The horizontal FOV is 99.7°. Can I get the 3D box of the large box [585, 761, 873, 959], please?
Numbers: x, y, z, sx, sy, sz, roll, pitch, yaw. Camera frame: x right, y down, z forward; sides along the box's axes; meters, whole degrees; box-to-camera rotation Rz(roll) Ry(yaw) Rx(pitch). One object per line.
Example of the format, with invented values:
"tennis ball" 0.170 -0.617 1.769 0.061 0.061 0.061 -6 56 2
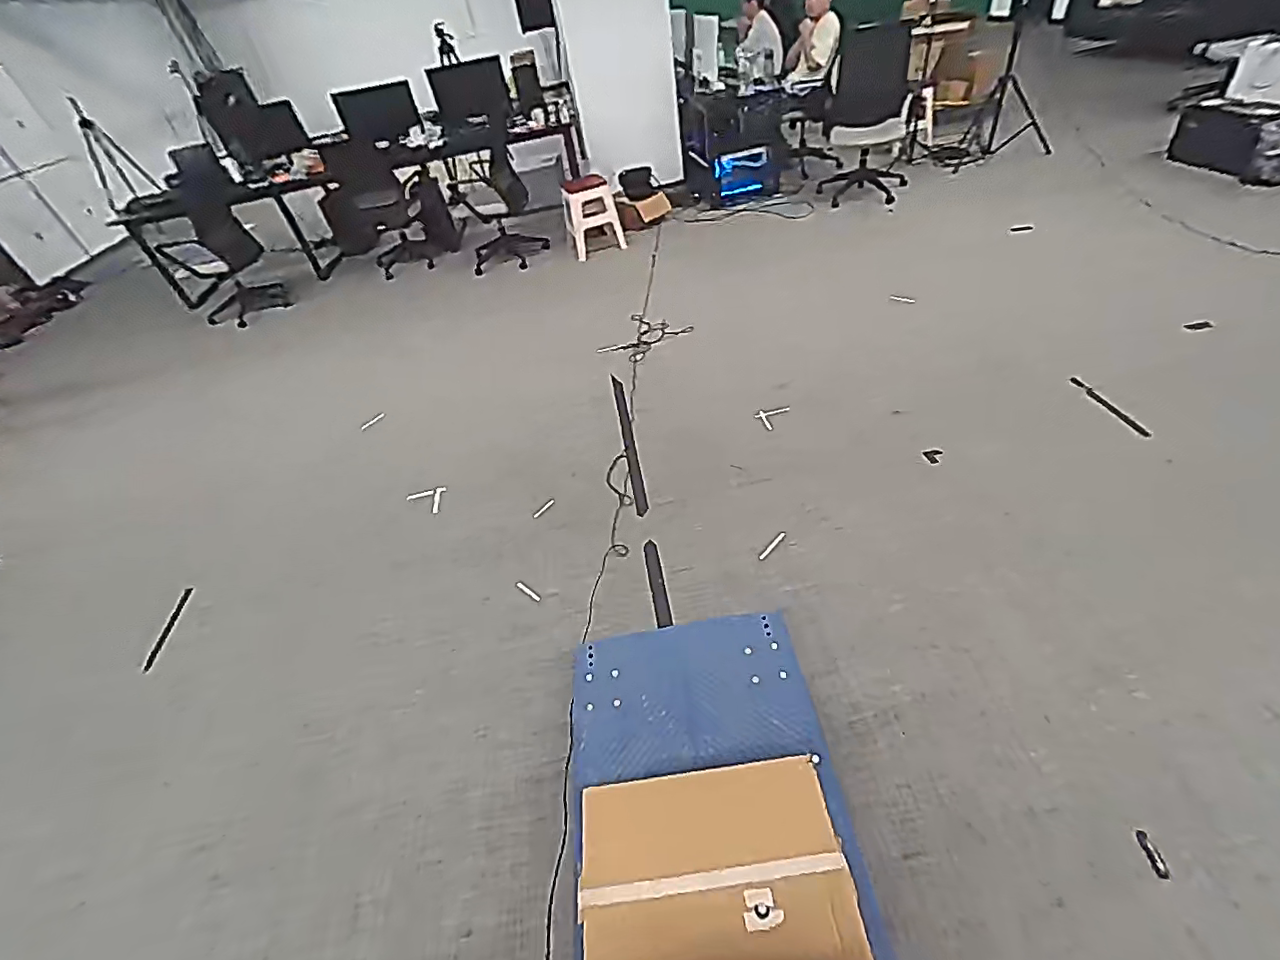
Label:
"large box" 0.135 0.731 0.928 0.408 0.320 0.320 -10 43 2
